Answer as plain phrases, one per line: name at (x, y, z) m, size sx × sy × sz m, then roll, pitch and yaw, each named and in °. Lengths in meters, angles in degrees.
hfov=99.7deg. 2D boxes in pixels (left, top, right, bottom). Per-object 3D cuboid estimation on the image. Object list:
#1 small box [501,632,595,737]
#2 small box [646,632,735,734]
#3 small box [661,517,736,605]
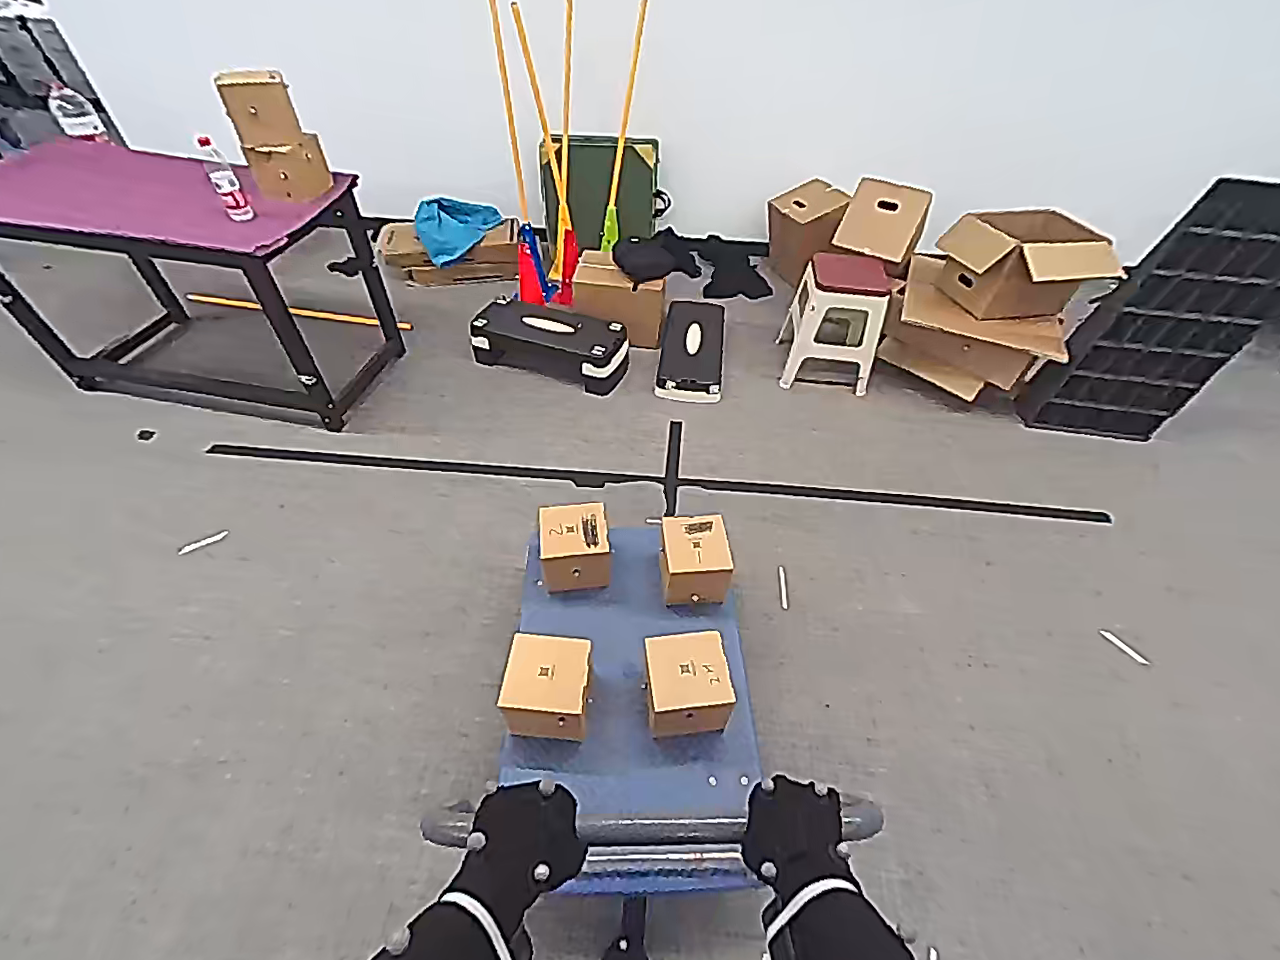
small box at (-0.200, 0.466, 1.226) m, size 0.179 × 0.176 × 0.168 m, roll 6°, pitch 47°, yaw 1°
small box at (0.106, 0.468, 1.238) m, size 0.179 × 0.176 × 0.168 m, roll -3°, pitch 48°, yaw -6°
small box at (0.150, 0.220, 1.464) m, size 0.168 × 0.176 × 0.179 m, roll -2°, pitch 49°, yaw -4°
